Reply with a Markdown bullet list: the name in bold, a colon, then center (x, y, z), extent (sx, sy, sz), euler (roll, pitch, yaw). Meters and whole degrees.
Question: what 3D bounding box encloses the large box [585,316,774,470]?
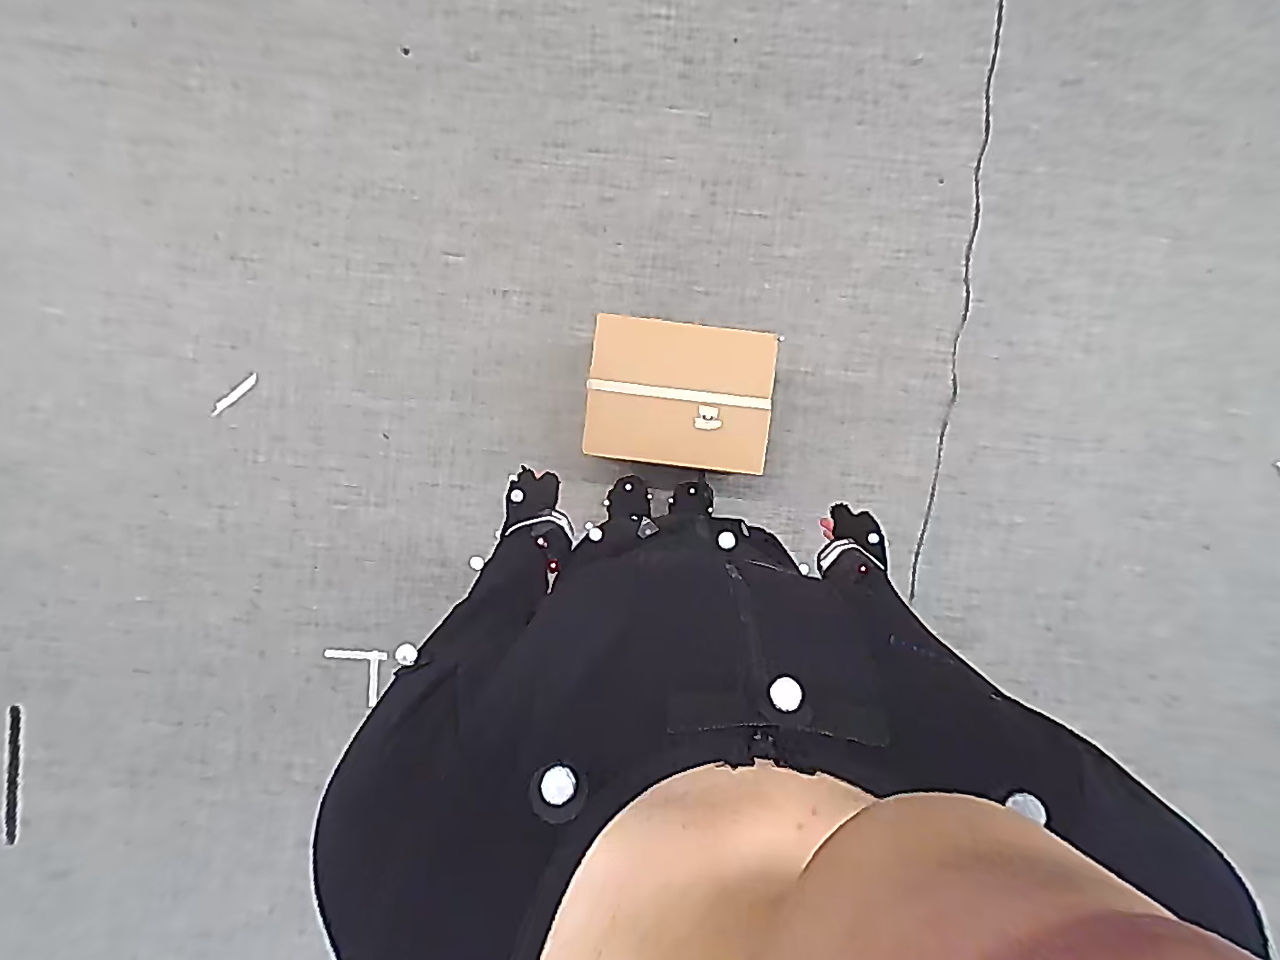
- **large box**: center (0.084, -0.195, 1.347), extent (0.408, 0.320, 0.320), euler (6, 92, -1)
